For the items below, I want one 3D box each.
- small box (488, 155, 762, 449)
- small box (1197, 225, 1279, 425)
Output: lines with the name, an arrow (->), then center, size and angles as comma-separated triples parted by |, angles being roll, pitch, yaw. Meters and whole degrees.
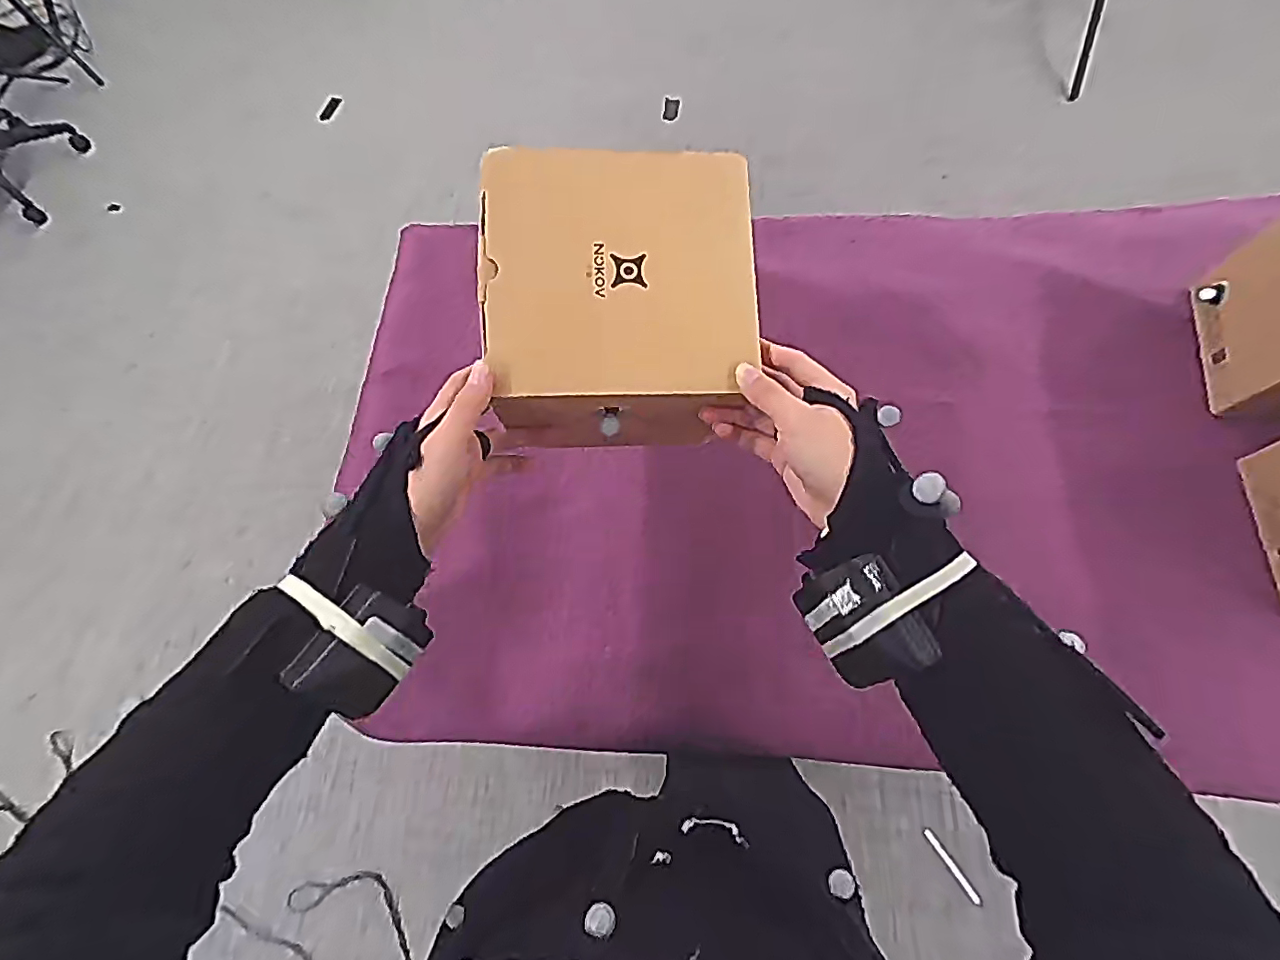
small box -> -0.017, -0.120, 0.428 | 0.179, 0.176, 0.168 | -1, 83, -5
small box -> 0.689, -0.154, 0.511 | 0.179, 0.176, 0.168 | 8, 72, 8
